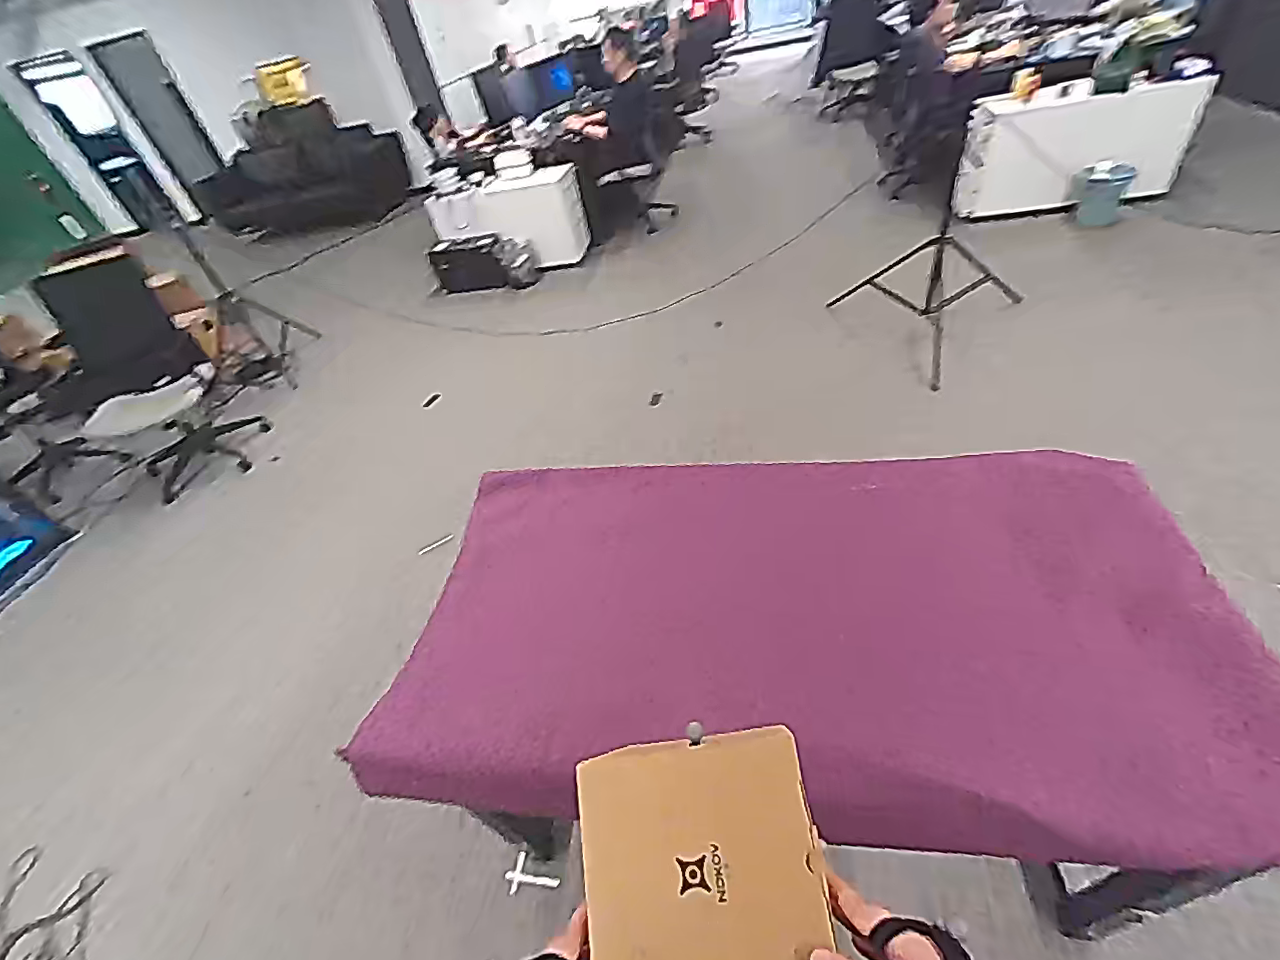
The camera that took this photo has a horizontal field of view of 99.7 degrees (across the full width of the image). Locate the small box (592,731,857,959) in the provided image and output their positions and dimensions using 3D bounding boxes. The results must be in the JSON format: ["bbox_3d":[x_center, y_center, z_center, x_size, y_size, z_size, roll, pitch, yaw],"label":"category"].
[{"bbox_3d":[0.069,0.314,0.462,0.179,0.176,0.168,-10,65,7],"label":"small box"}]
